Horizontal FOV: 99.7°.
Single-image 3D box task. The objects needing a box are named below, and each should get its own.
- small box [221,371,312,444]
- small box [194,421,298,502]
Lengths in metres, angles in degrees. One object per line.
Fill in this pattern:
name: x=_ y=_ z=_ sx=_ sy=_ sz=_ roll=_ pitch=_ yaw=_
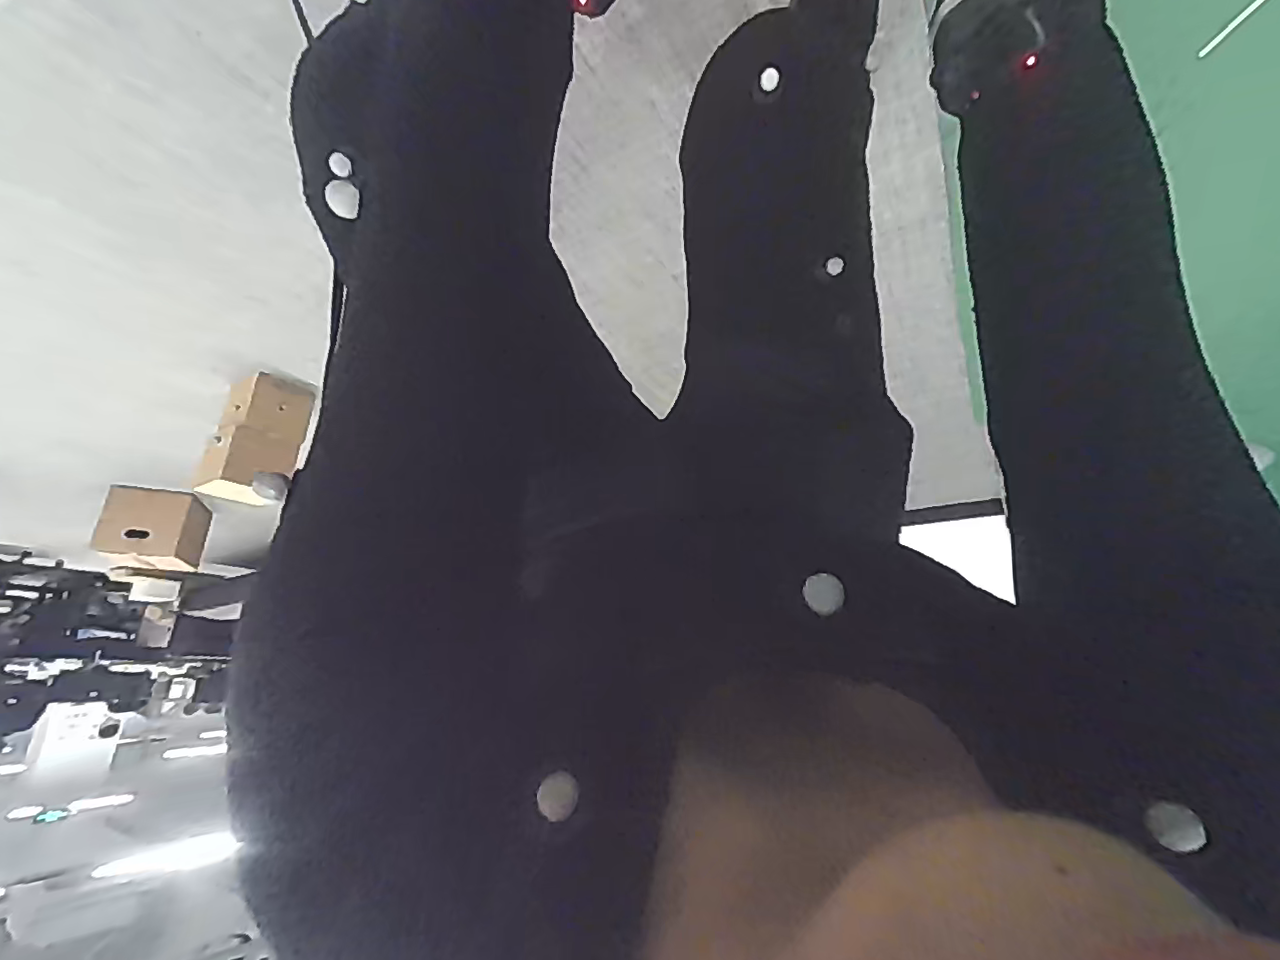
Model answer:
small box: x=-1.101 y=-0.201 z=1.599 sx=0.179 sy=0.176 sz=0.168 roll=-12 pitch=157 yaw=31
small box: x=-1.114 y=-0.049 z=1.540 sx=0.168 sy=0.176 sz=0.179 roll=-13 pitch=155 yaw=30
